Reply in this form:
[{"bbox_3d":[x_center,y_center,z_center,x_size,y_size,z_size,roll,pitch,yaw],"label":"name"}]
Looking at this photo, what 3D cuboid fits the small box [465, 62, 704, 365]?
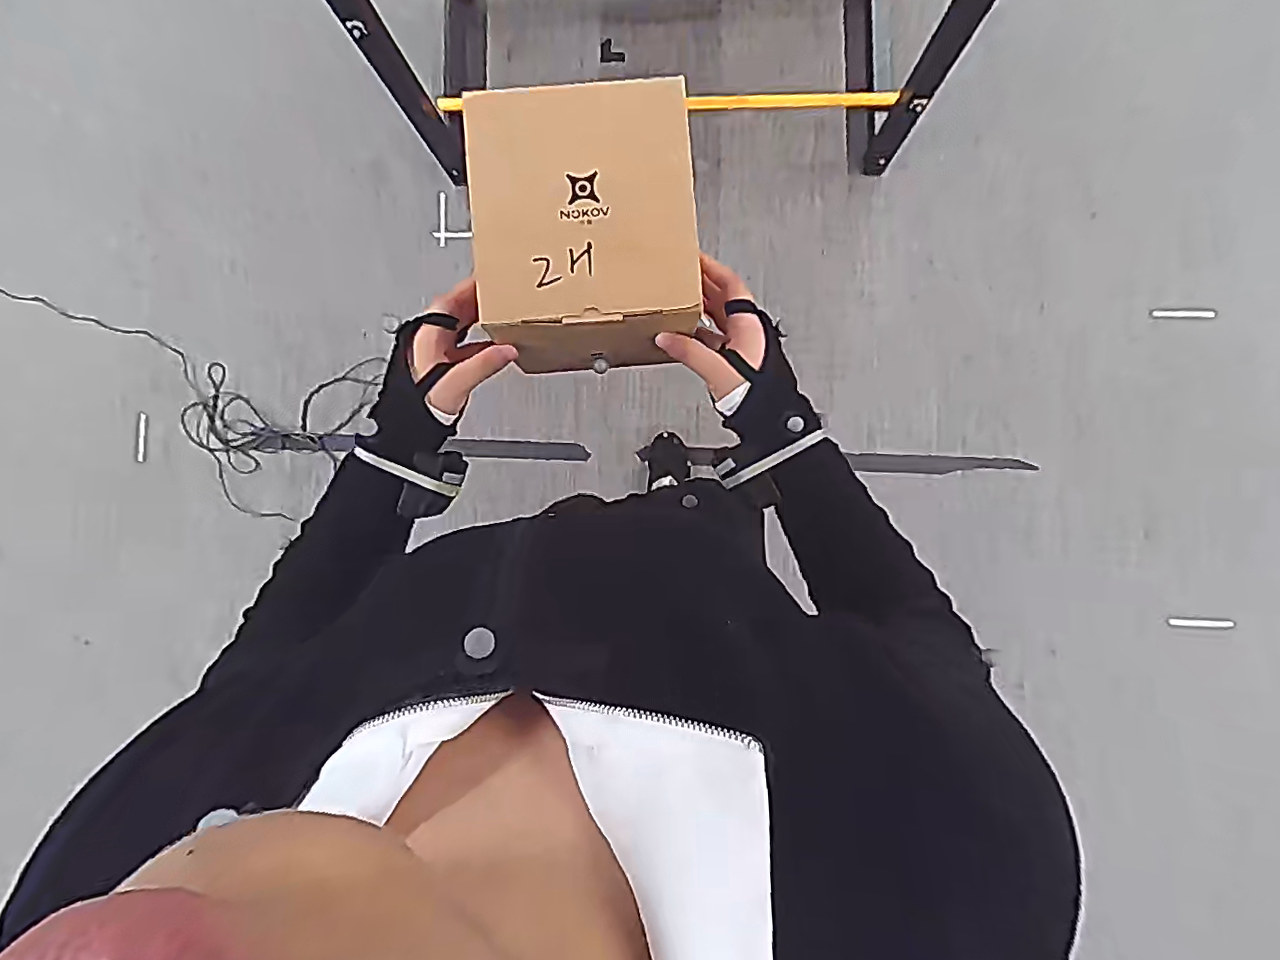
[{"bbox_3d":[-0.042,-0.210,0.468,0.168,0.176,0.179,-5,89,0],"label":"small box"}]
